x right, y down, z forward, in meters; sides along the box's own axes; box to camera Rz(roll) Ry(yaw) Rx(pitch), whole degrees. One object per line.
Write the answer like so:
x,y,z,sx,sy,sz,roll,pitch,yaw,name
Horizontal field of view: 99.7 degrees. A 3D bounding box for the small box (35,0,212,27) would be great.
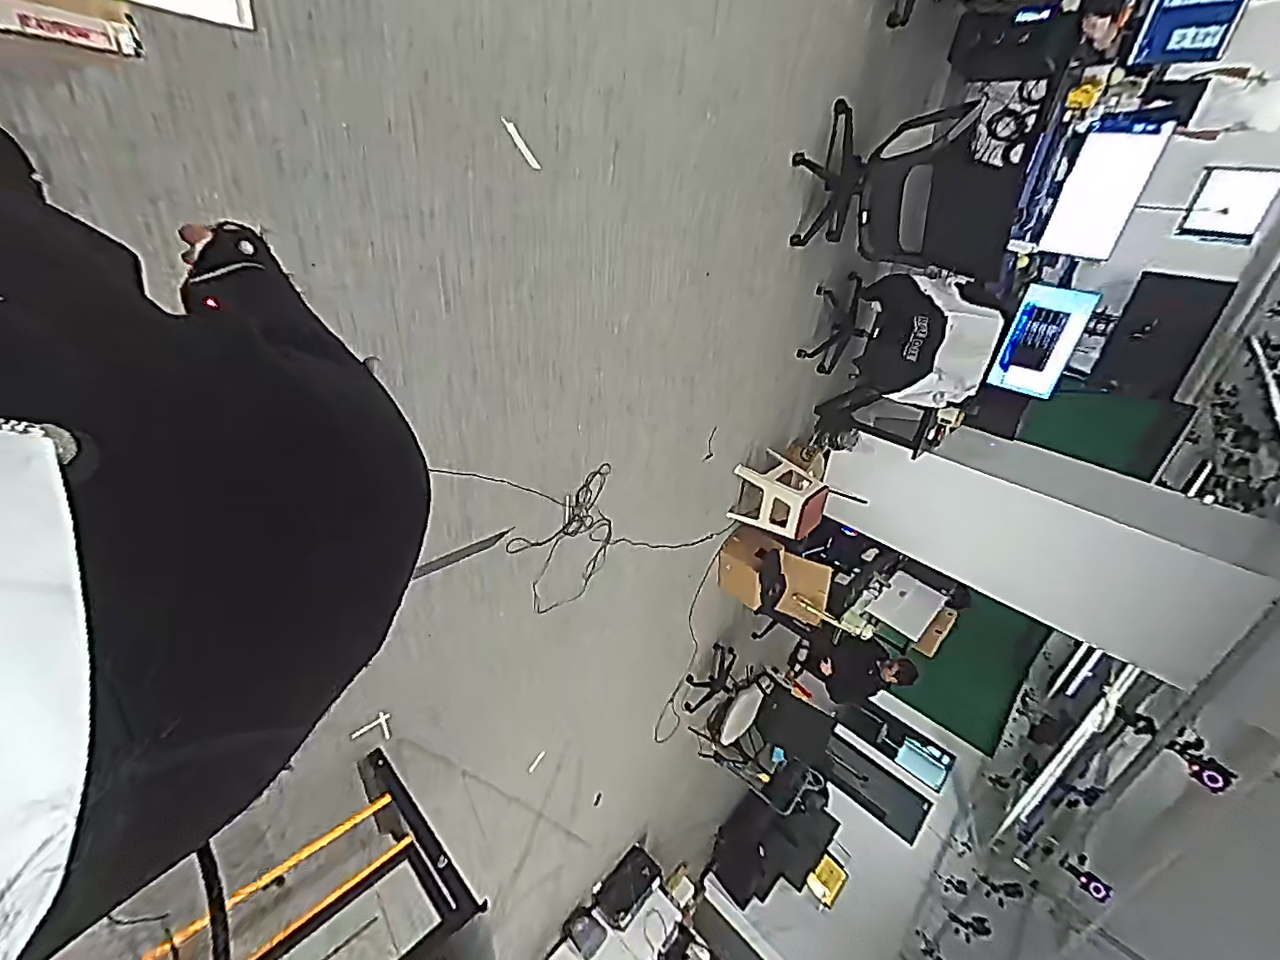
-0.474,-0.483,0.416,0.168,0.176,0.179,-24,133,-44,small box
